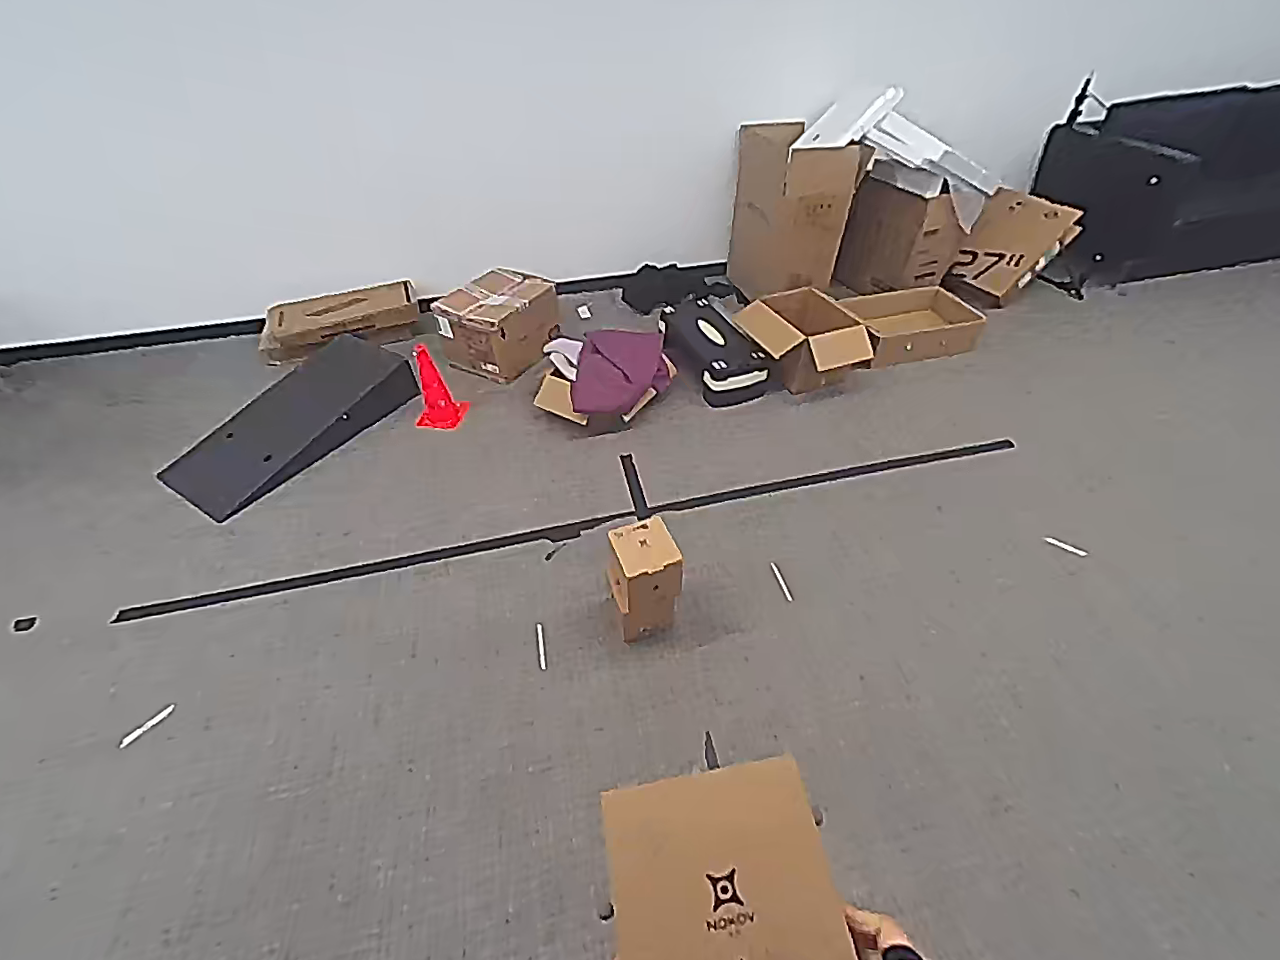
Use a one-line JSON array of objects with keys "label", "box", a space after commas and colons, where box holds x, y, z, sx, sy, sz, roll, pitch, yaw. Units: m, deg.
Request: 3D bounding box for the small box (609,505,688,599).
[{"label": "small box", "box": [0.023, 0.201, 1.472, 0.168, 0.176, 0.179, -16, 46, -13]}]

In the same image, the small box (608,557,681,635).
[{"label": "small box", "box": [0.009, 0.322, 1.584, 0.168, 0.176, 0.179, -15, 47, -13]}]

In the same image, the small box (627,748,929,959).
[{"label": "small box", "box": [0.084, 0.314, 0.386, 0.168, 0.176, 0.179, -9, 55, -5]}]
